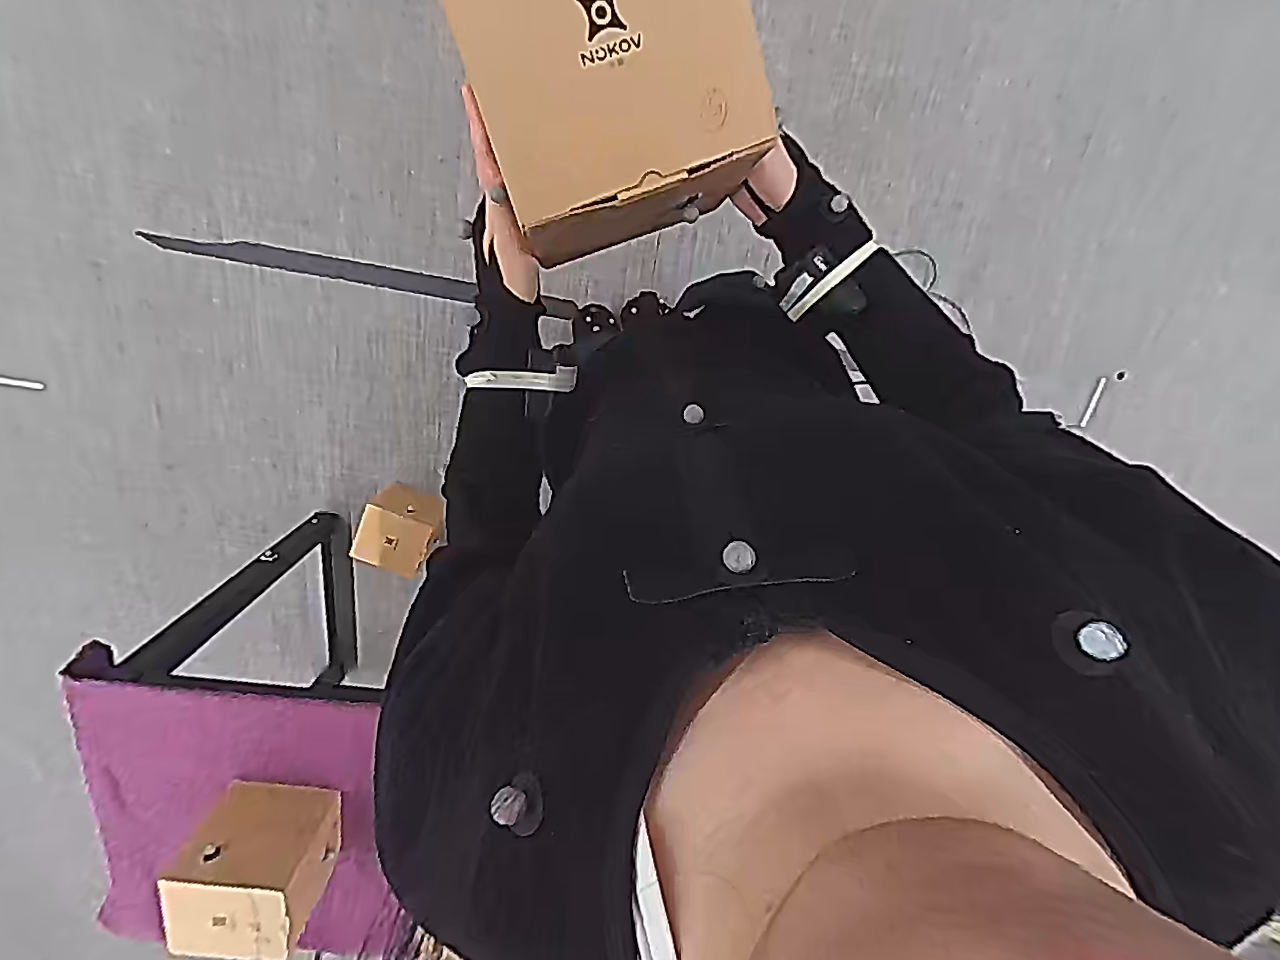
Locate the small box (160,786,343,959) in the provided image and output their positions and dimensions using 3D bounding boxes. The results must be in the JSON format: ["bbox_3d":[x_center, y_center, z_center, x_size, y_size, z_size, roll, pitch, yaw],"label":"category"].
[{"bbox_3d":[-0.606,0.624,0.866,0.179,0.176,0.168,9,110,-6],"label":"small box"}]

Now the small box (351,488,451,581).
[{"bbox_3d":[-0.641,0.140,1.469,0.179,0.176,0.168,24,106,-11],"label":"small box"}]
